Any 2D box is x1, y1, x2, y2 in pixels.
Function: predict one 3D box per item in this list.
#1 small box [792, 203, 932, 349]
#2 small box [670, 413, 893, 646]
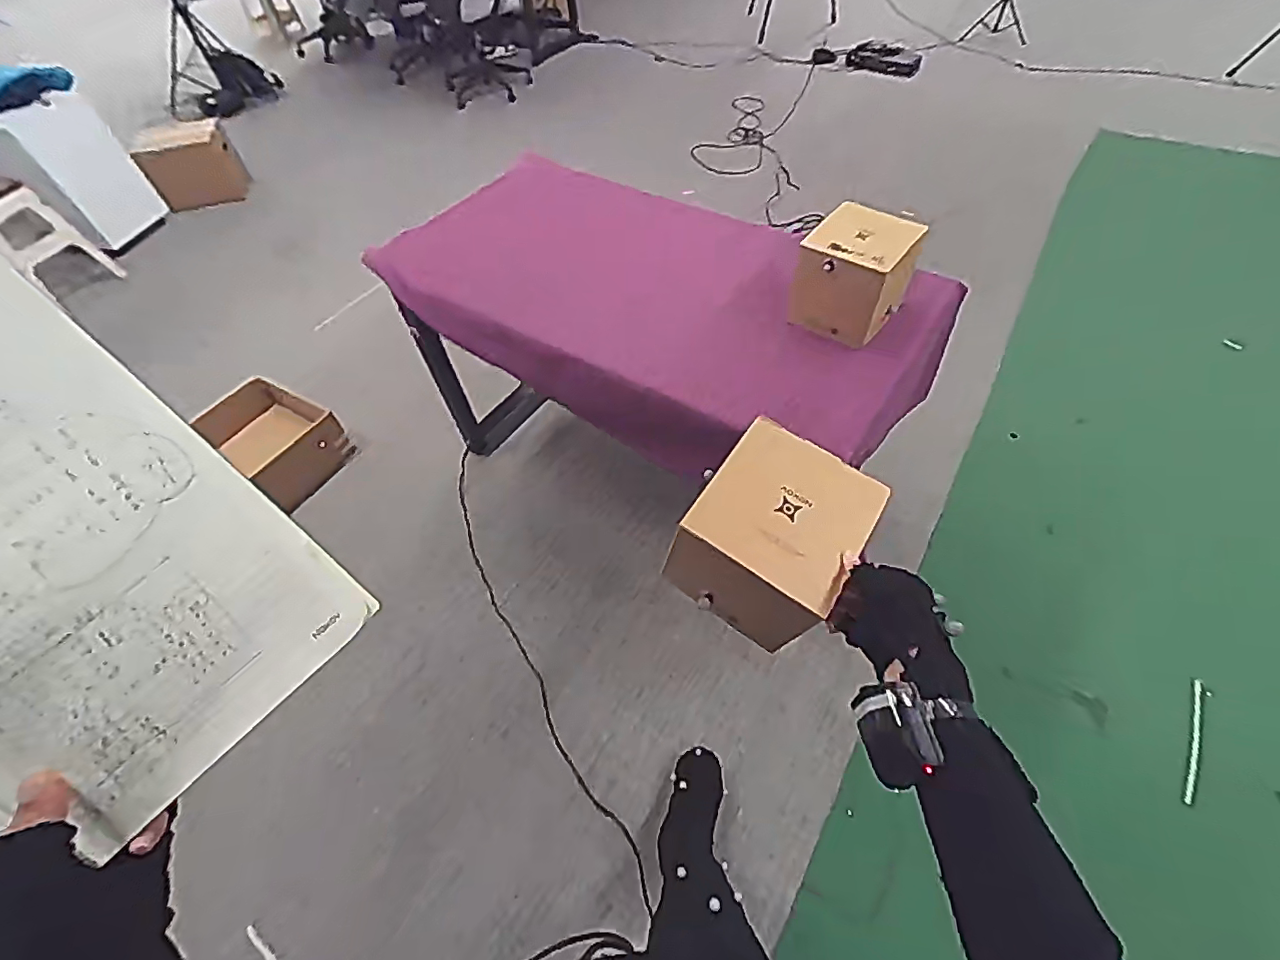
[{"bbox_3d":[0.406,-0.382,1.016,0.168,0.176,0.179,33,61,25],"label":"small box"},{"bbox_3d":[0.150,0.063,0.627,0.168,0.176,0.179,34,64,12],"label":"small box"}]
